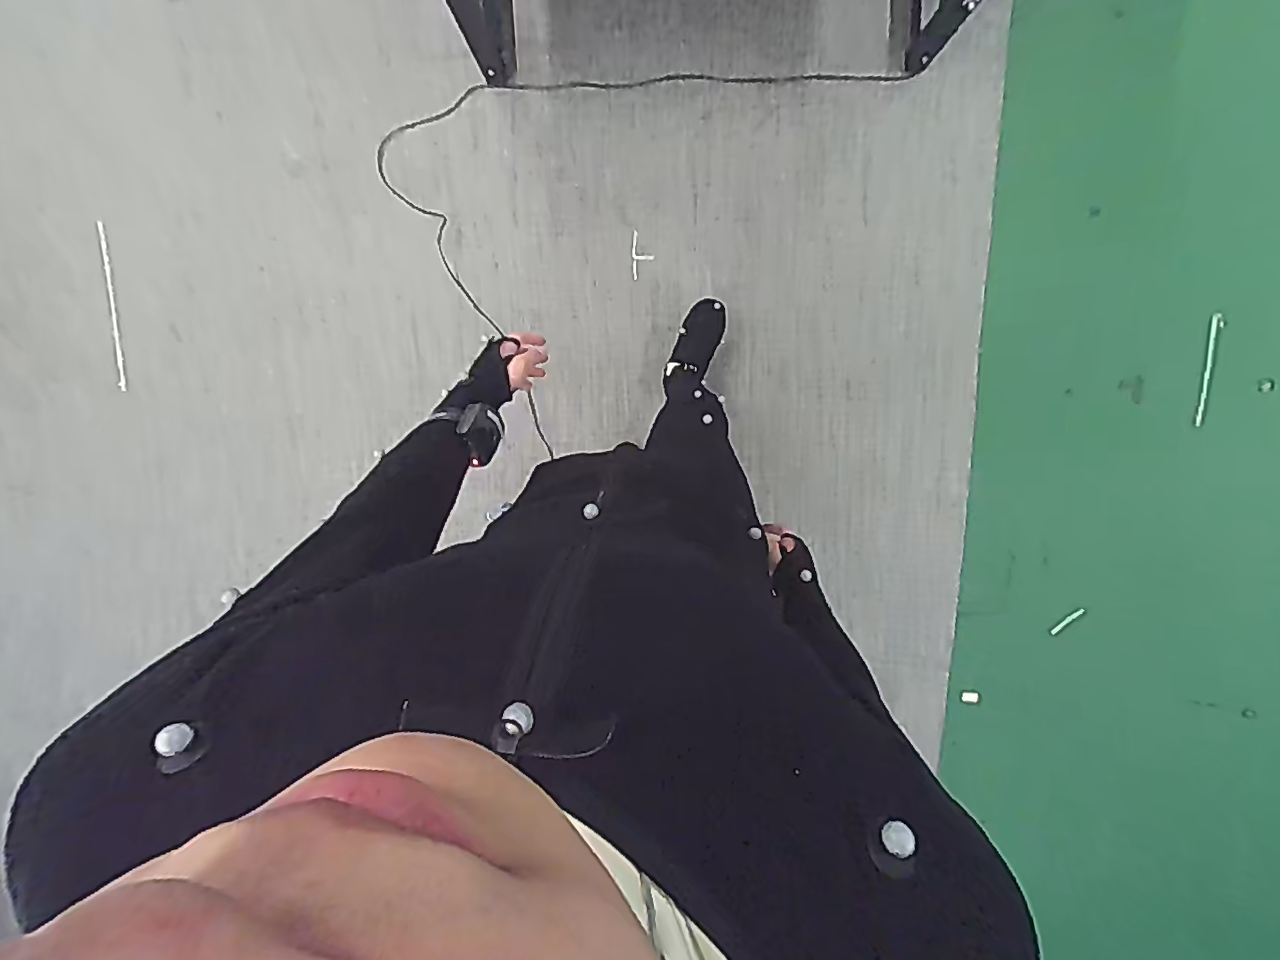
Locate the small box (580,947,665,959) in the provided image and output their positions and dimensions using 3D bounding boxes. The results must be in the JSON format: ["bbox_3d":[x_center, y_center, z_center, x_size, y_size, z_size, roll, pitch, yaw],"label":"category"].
[{"bbox_3d":[-0.029,0.945,0.917,0.168,0.176,0.179,2,99,2],"label":"small box"}]
